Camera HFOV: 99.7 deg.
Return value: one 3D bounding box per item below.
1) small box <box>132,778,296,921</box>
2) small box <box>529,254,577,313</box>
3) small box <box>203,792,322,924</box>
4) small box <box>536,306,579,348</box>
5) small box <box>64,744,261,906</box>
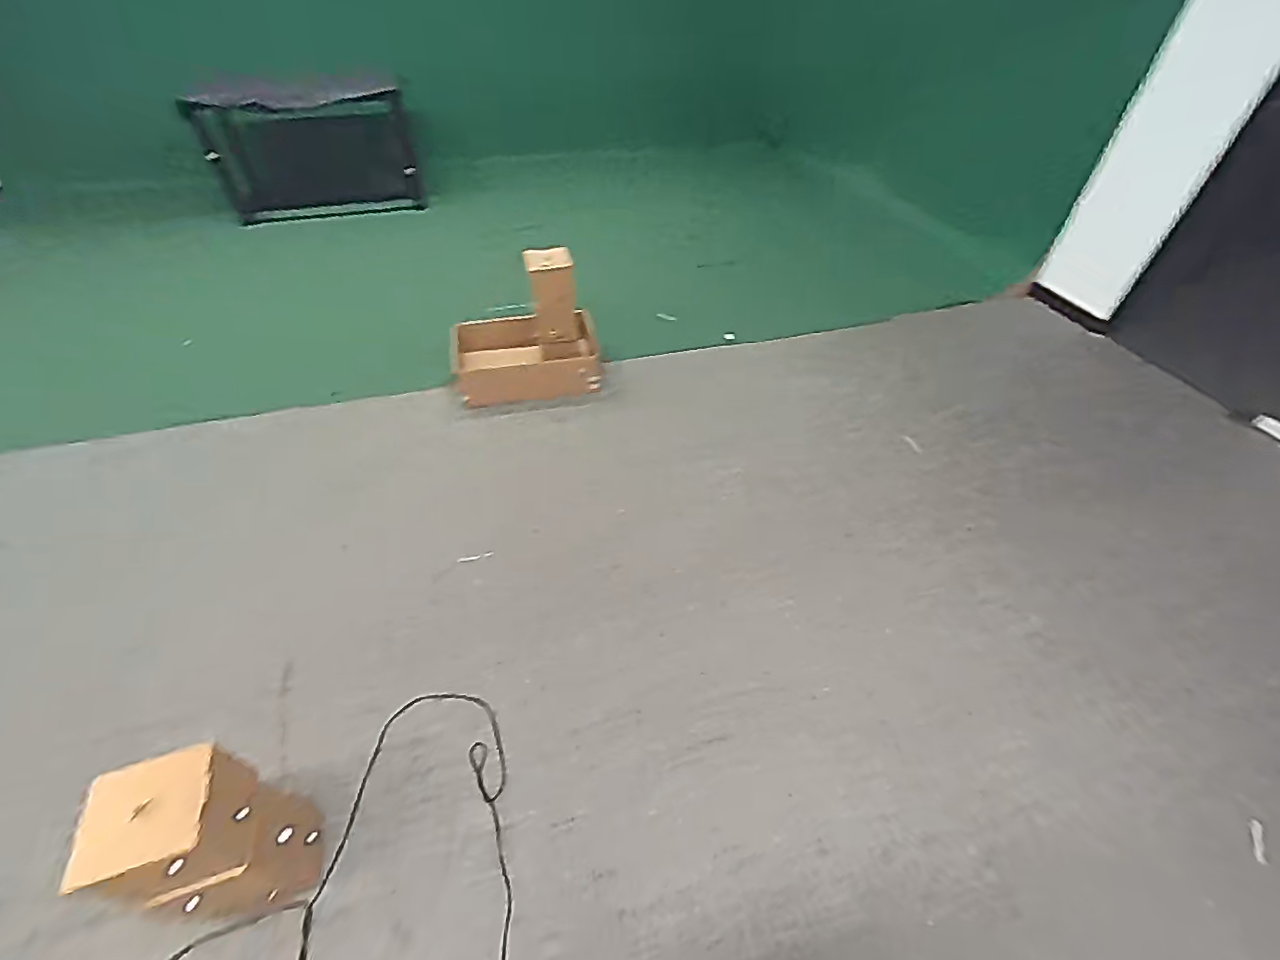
[{"bbox_3d":[-0.793,0.706,1.030,0.179,0.176,0.168,-13,48,-14],"label":"small box"},{"bbox_3d":[-0.356,-0.804,2.213,0.168,0.176,0.179,-11,47,-9],"label":"small box"},{"bbox_3d":[-0.803,0.809,1.157,0.179,0.176,0.168,-17,47,-16],"label":"small box"},{"bbox_3d":[-0.357,-0.691,2.332,0.168,0.176,0.179,-8,48,-7],"label":"small box"},{"bbox_3d":[-0.790,0.587,0.919,0.179,0.176,0.168,-14,47,-15],"label":"small box"}]
